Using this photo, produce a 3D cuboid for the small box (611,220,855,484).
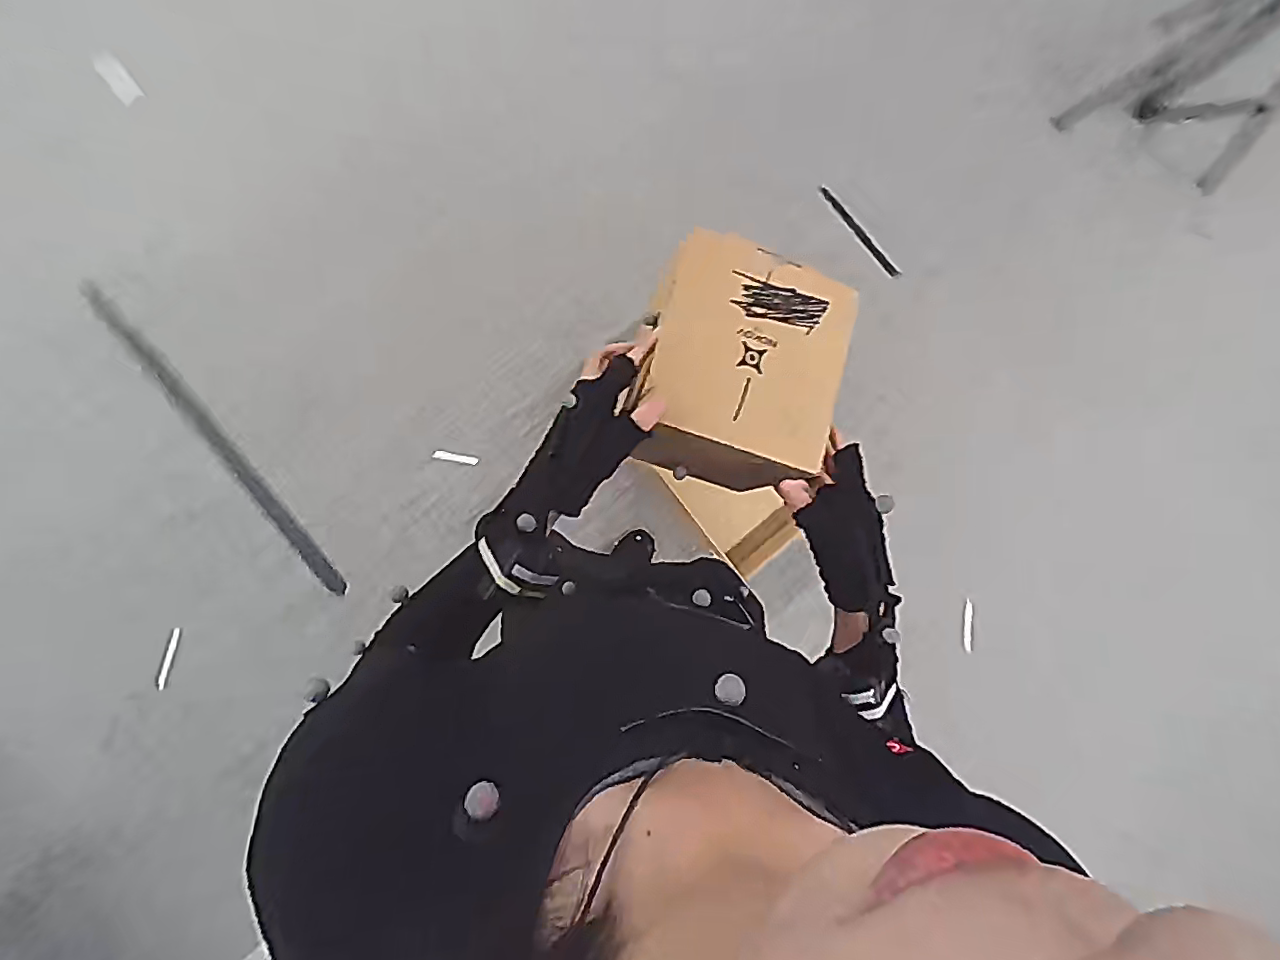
[{"bbox_3d":[0.077,-0.105,0.528,0.168,0.176,0.179,16,80,-10],"label":"small box"}]
